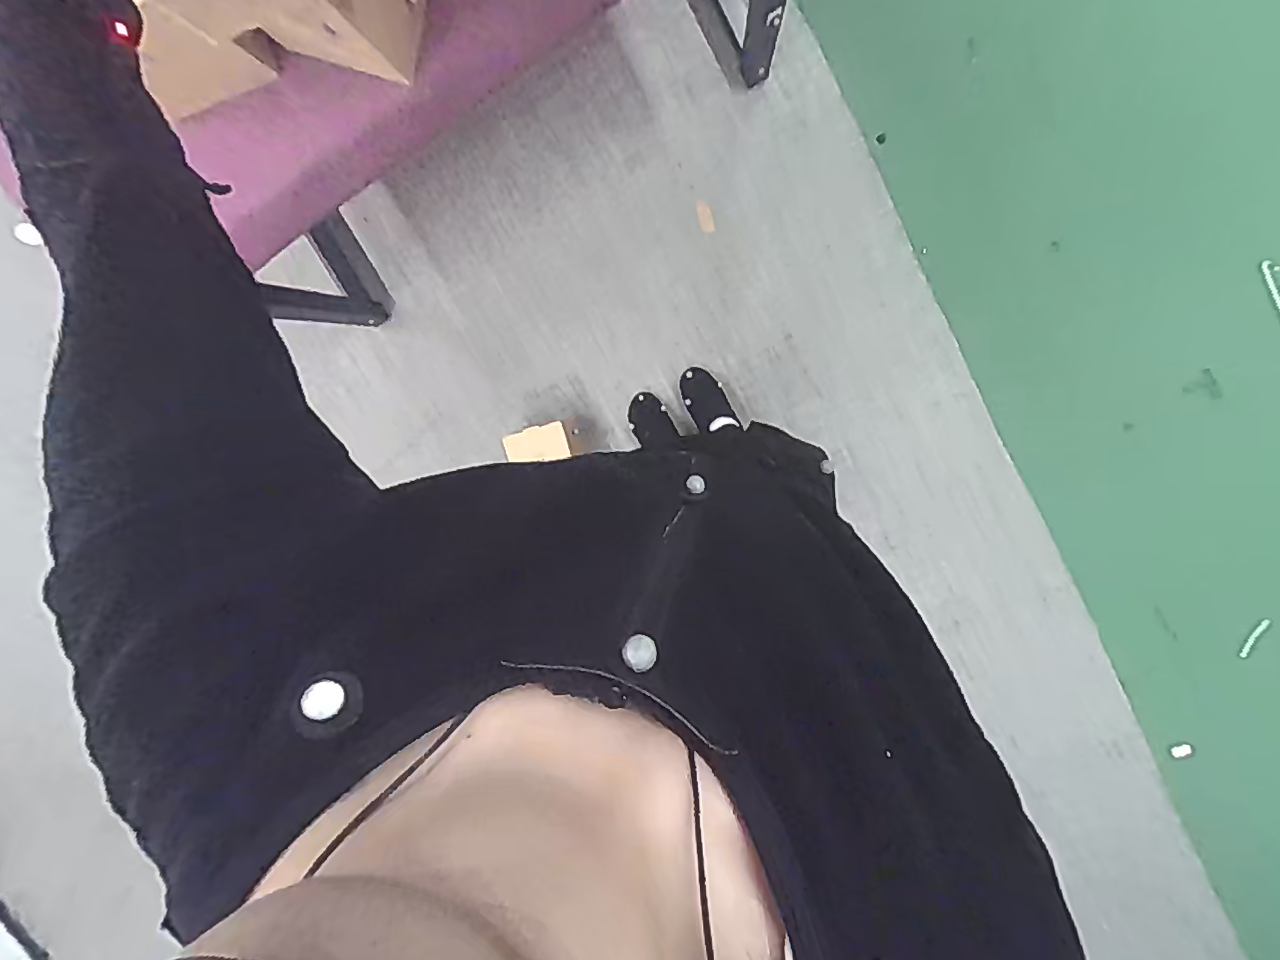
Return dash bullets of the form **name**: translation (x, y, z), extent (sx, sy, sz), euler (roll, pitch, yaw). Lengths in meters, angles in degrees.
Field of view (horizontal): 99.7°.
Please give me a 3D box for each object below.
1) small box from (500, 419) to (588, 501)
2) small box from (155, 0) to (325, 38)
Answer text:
- **small box**: translation (-0.250, -0.062, 1.447), extent (0.168, 0.176, 0.179), euler (-13, 102, 9)
- **small box**: translation (-0.376, -0.515, 0.439), extent (0.179, 0.176, 0.168), euler (-14, 101, 8)
